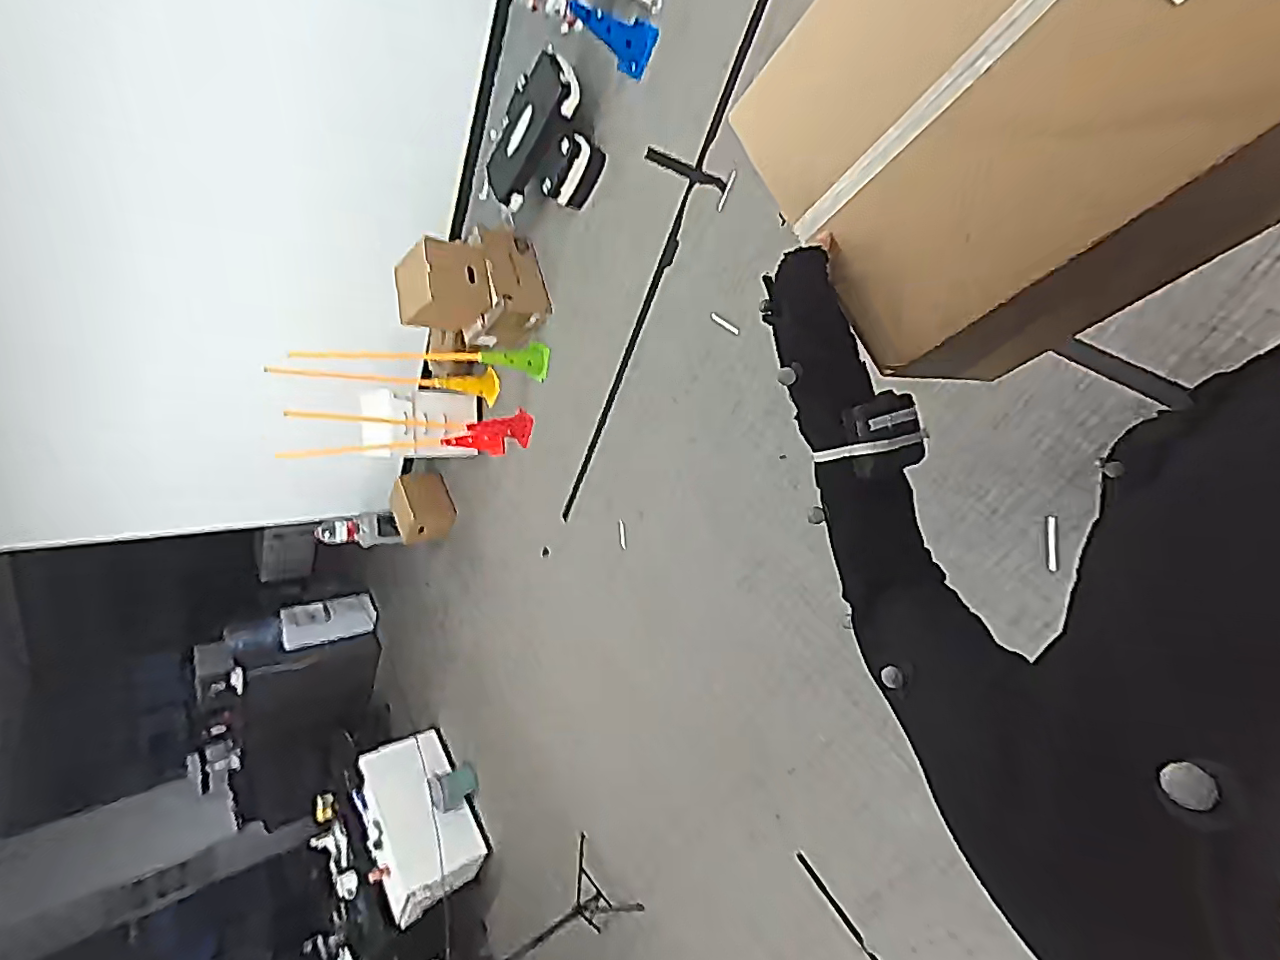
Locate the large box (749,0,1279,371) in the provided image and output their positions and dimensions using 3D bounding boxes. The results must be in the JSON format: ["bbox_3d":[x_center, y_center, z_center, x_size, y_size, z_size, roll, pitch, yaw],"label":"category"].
[{"bbox_3d":[0.381,-0.338,0.462,0.408,0.320,0.320,-37,69,43],"label":"large box"}]
